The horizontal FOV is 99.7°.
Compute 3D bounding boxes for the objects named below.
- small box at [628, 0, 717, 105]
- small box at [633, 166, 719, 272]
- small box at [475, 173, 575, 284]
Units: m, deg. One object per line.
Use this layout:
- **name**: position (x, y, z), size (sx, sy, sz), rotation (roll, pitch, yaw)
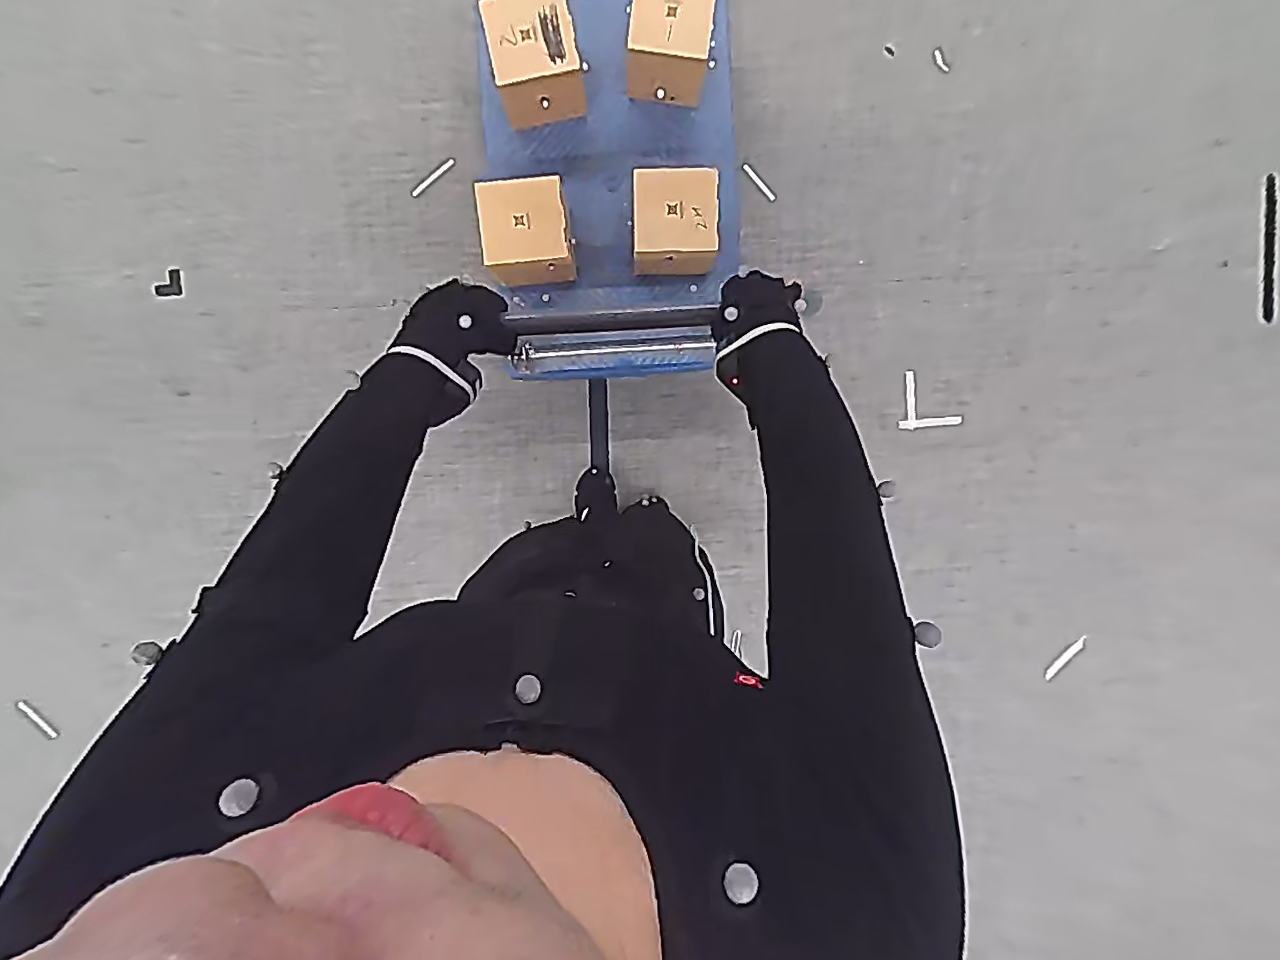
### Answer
- **small box**: position (0.065, -0.944, 1.144), size (0.168, 0.176, 0.179), rotation (7, 96, -2)
- **small box**: position (0.074, -0.560, 1.180), size (0.179, 0.176, 0.168), rotation (-1, 96, -1)
- **small box**: position (-0.242, -0.538, 1.178), size (0.179, 0.176, 0.168), rotation (-7, 95, -2)
